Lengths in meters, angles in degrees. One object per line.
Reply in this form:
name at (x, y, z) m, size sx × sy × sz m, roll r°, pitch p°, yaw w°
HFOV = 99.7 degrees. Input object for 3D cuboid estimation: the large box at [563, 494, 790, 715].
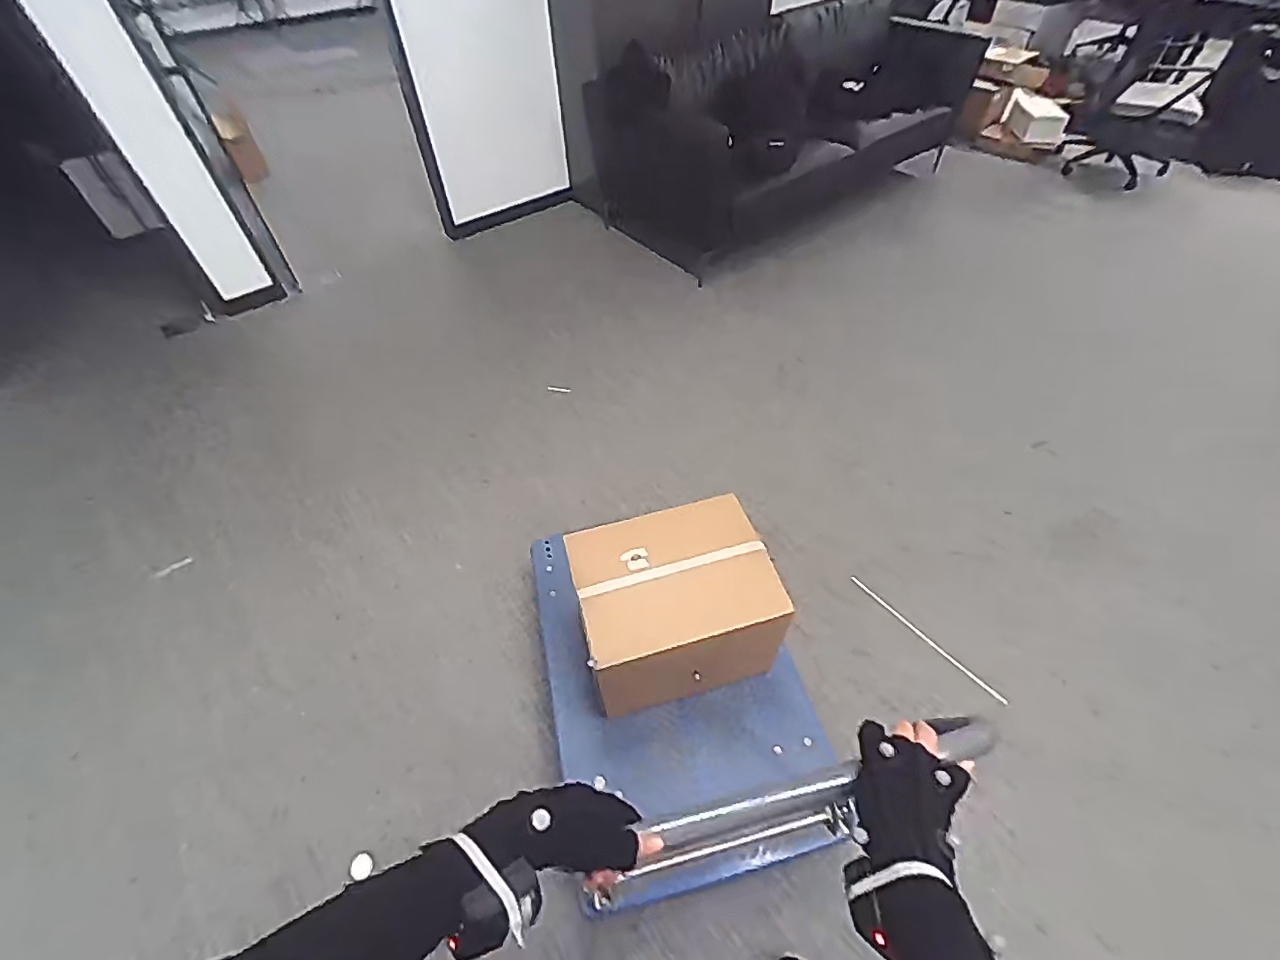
large box at (0.069, 0.285, 1.235) m, size 0.408 × 0.320 × 0.320 m, roll -14°, pitch 51°, yaw -9°
